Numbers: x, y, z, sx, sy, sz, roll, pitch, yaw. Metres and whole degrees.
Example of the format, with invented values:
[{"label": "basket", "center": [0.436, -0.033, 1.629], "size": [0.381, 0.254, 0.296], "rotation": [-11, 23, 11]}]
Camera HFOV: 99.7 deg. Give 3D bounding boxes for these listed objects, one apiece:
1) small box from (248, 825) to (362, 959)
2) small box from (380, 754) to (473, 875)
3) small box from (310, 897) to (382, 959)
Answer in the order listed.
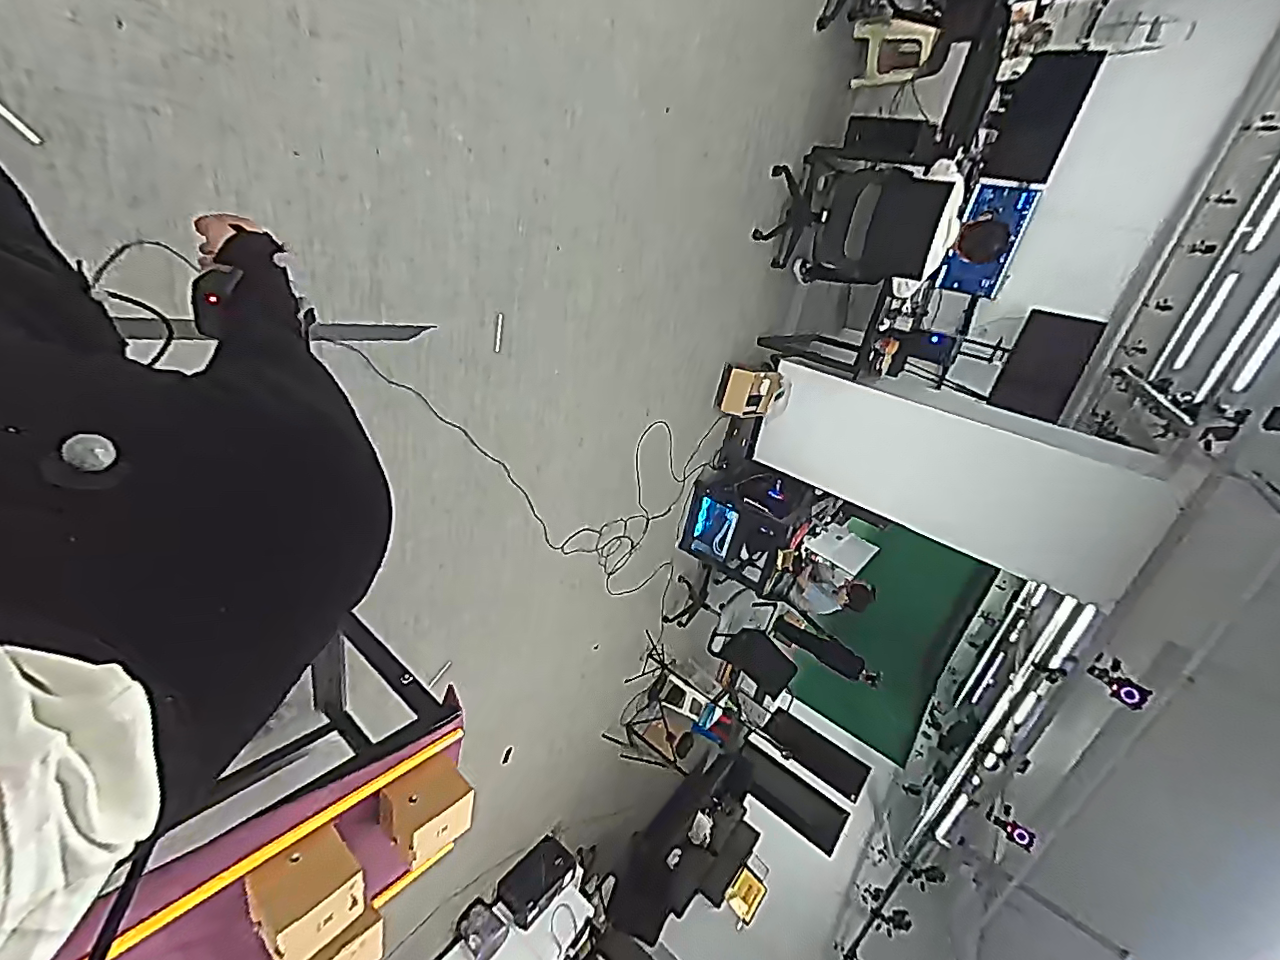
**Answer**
[{"label": "small box", "center": [-0.752, 0.936, 1.213], "size": [0.179, 0.176, 0.168], "rotation": [-19, 128, -49]}, {"label": "small box", "center": [-0.571, 0.881, 1.441], "size": [0.179, 0.176, 0.168], "rotation": [-17, 127, -48]}, {"label": "small box", "center": [-0.773, 1.165, 1.358], "size": [0.168, 0.176, 0.179], "rotation": [-18, 126, -51]}]
